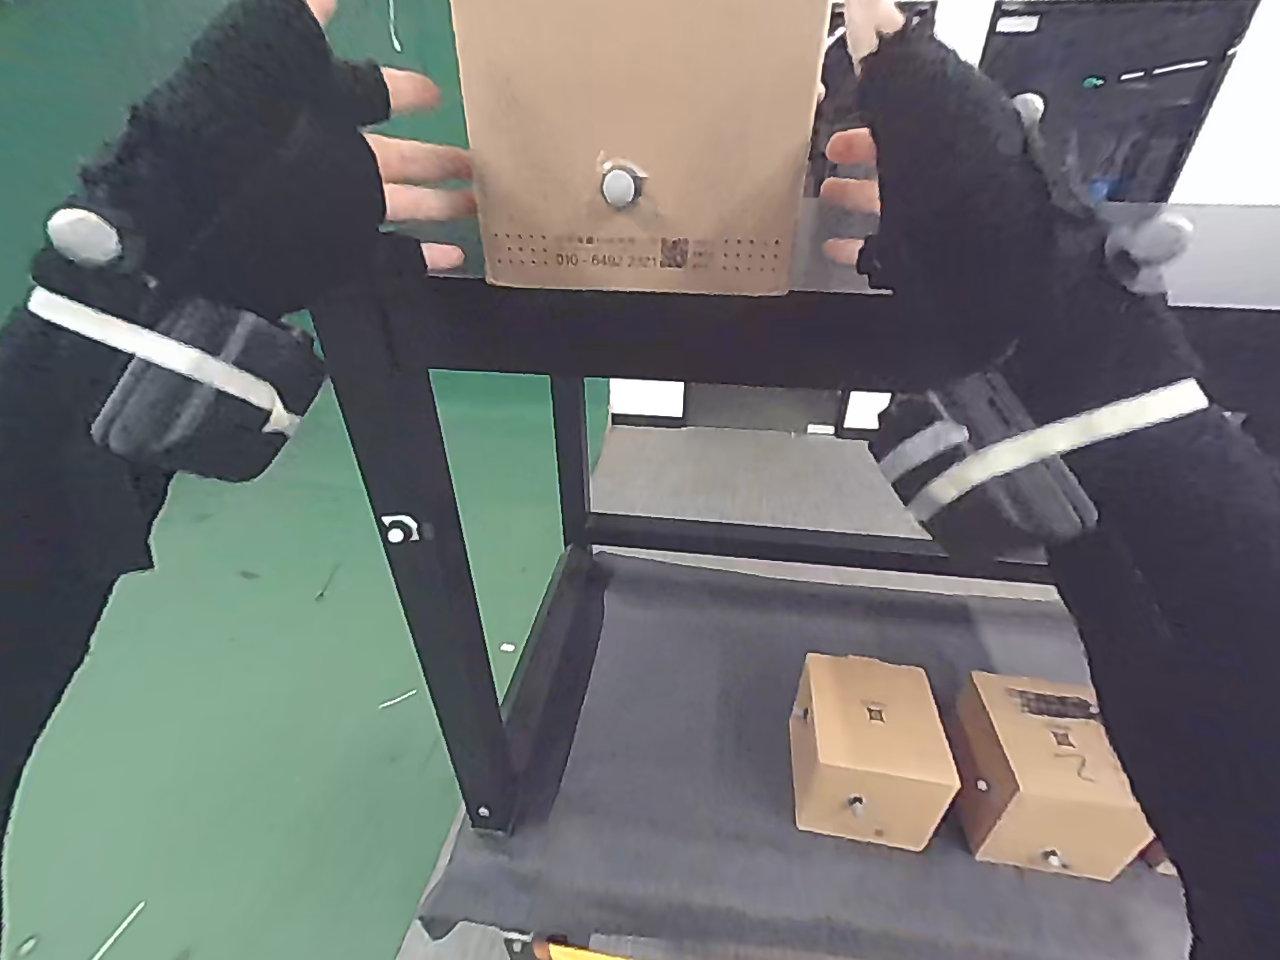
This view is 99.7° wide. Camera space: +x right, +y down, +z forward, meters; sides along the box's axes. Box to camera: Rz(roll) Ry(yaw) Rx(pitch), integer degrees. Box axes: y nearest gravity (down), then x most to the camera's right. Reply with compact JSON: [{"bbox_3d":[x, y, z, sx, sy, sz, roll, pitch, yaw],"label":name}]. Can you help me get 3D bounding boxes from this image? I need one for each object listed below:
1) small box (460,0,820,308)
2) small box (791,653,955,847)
[{"bbox_3d":[0.003,-0.213,0.327,0.168,0.176,0.179,3,33,5],"label":"small box"},{"bbox_3d":[0.311,0.378,0.762,0.168,0.176,0.179,5,32,9],"label":"small box"}]
